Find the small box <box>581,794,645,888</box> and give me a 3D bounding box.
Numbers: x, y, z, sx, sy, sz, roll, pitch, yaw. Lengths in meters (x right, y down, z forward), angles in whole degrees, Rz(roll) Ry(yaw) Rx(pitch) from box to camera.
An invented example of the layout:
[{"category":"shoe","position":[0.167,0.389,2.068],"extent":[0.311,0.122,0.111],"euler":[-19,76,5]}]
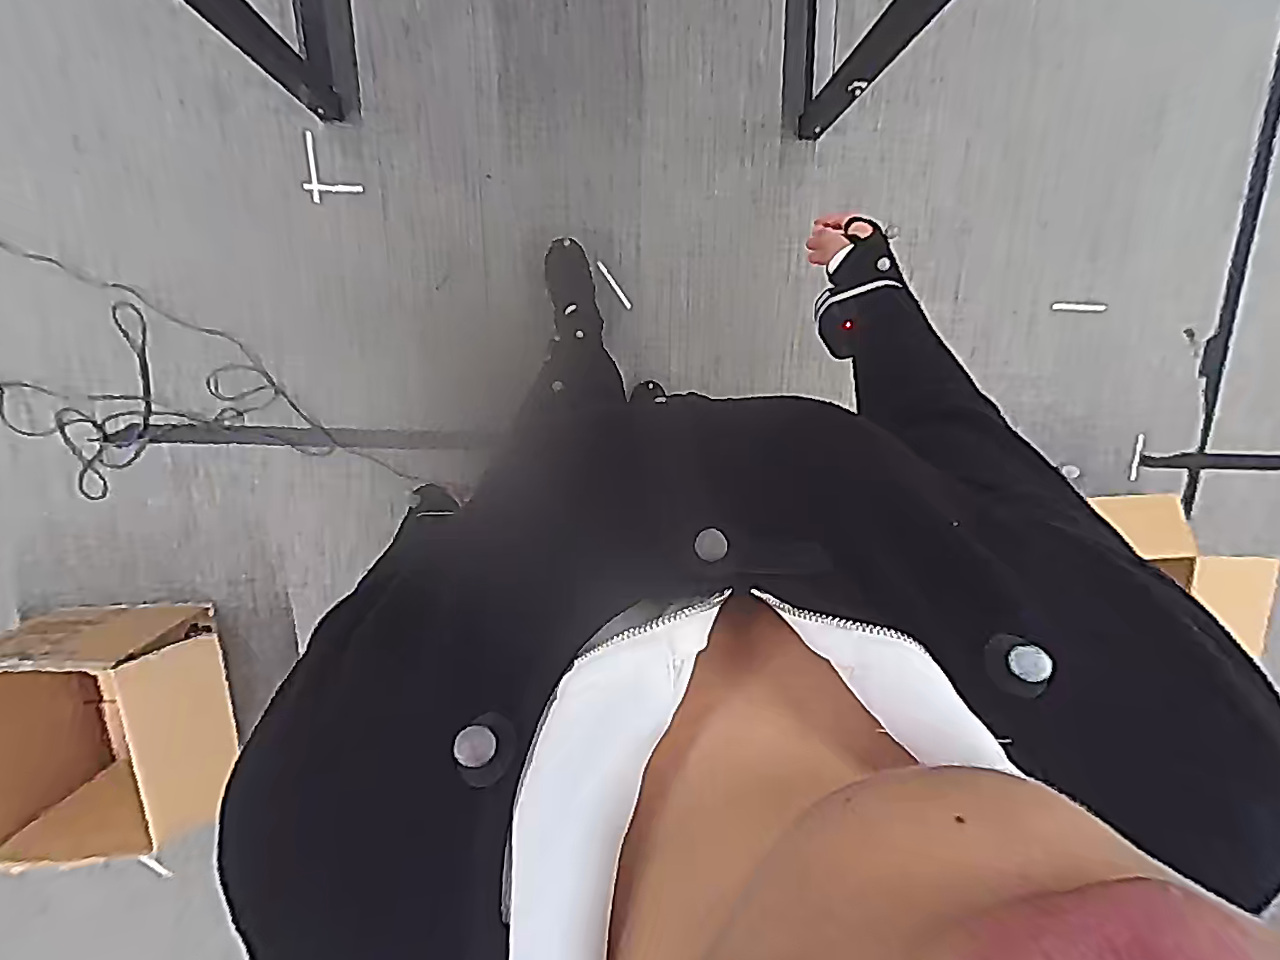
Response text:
[{"category":"small box","position":[-0.080,1.054,1.587],"extent":[0.179,0.176,0.168],"euler":[2,100,-3]}]
